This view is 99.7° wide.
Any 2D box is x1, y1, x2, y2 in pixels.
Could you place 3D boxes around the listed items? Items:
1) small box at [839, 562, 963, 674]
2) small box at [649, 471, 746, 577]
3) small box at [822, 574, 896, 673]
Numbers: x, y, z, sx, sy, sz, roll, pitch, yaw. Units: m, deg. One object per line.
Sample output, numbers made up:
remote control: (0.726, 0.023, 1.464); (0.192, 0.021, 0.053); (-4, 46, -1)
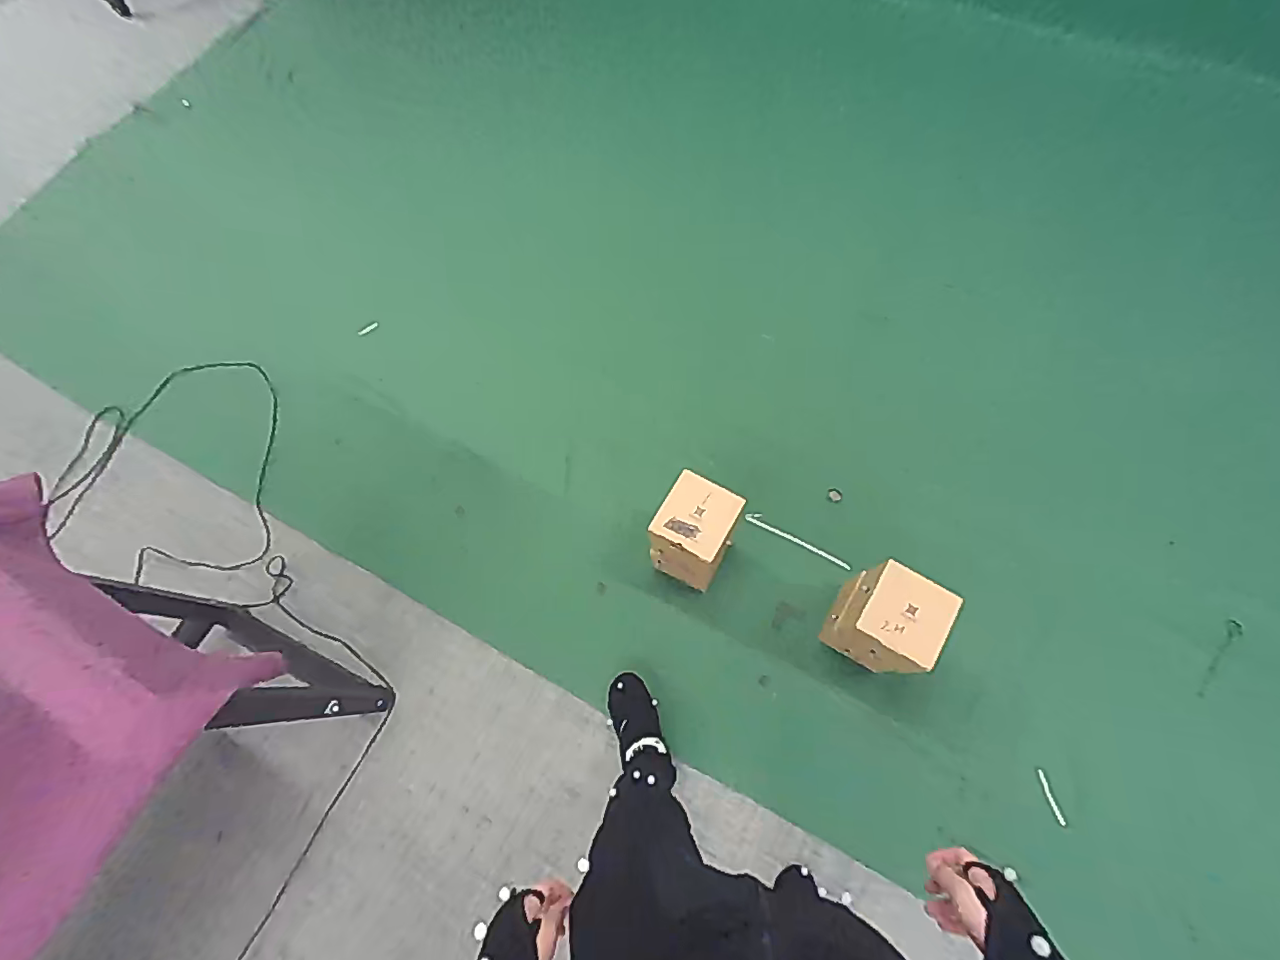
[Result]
small box: (0.569, 0.310, 1.203); (0.168, 0.176, 0.179); (31, 75, 14)
small box: (0.138, 0.113, 1.308); (0.168, 0.176, 0.179); (29, 72, 14)
small box: (0.579, 0.362, 1.359); (0.168, 0.176, 0.179); (29, 75, 13)
